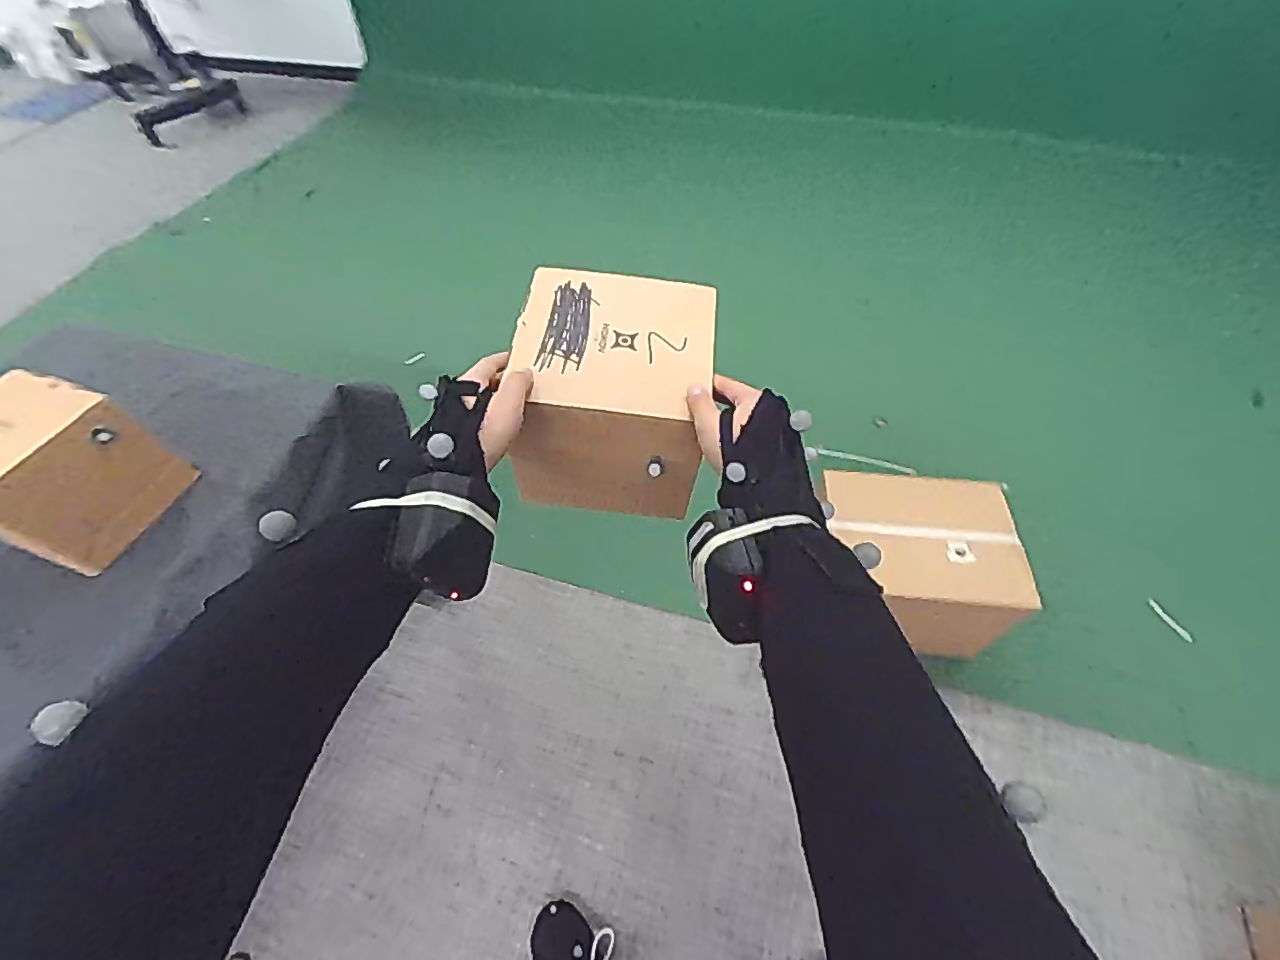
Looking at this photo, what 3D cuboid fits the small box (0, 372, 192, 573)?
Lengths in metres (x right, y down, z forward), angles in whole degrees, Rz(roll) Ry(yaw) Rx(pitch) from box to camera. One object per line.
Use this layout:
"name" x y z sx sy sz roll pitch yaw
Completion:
"small box" -0.744 -0.005 0.691 0.168 0.176 0.179 15 56 13
